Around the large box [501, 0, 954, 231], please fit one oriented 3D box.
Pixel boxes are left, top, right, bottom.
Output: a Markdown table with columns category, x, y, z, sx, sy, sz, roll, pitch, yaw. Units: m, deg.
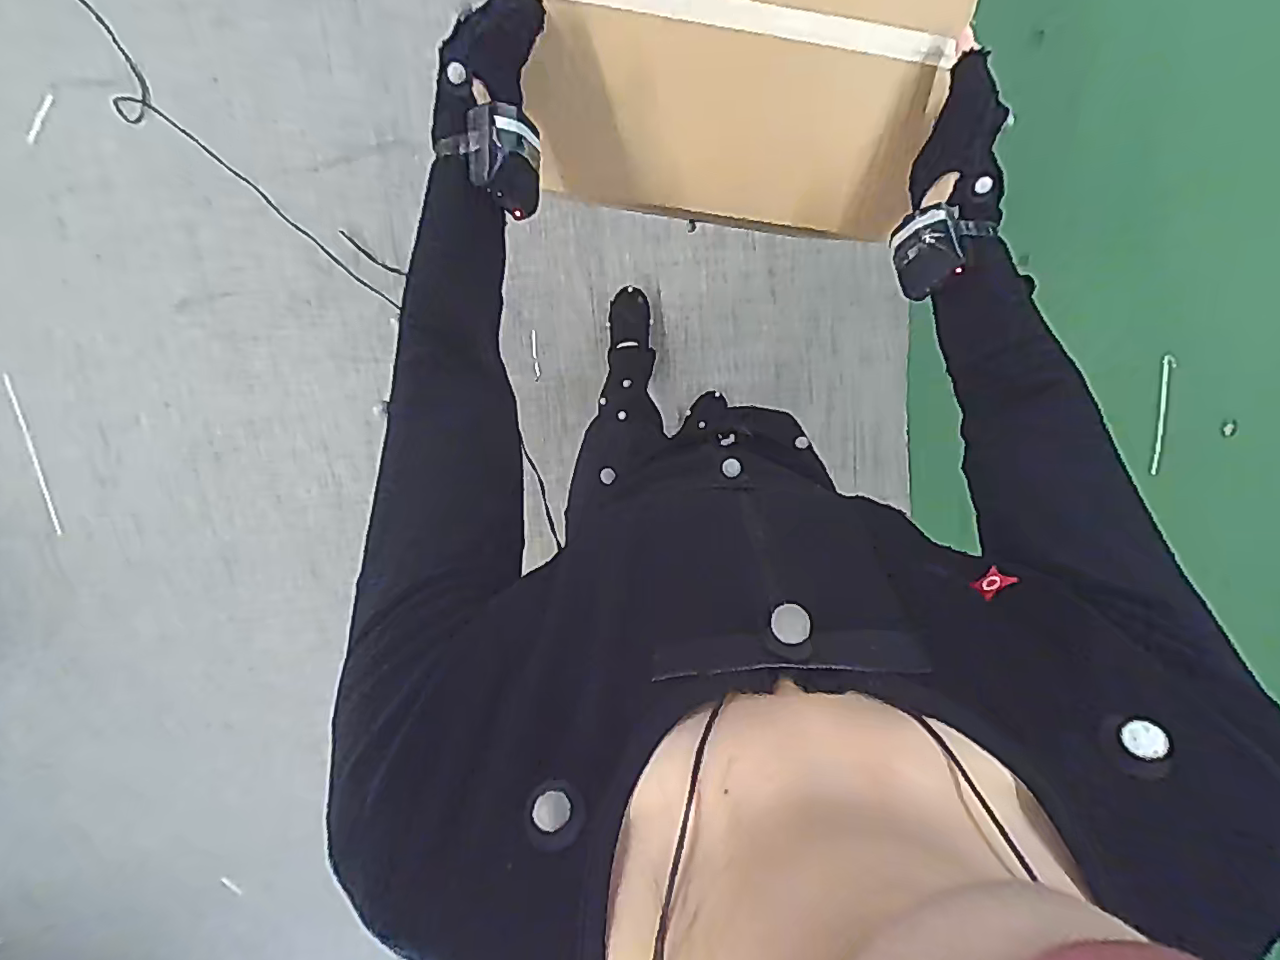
| category | x | y | z | sx | sy | sz | roll | pitch | yaw |
| --- | --- | --- | --- | --- | --- | --- | --- | --- | --- |
| large box | 0.078 | -0.478 | 0.617 | 0.408 | 0.320 | 0.320 | 7 | 114 | -4 |
